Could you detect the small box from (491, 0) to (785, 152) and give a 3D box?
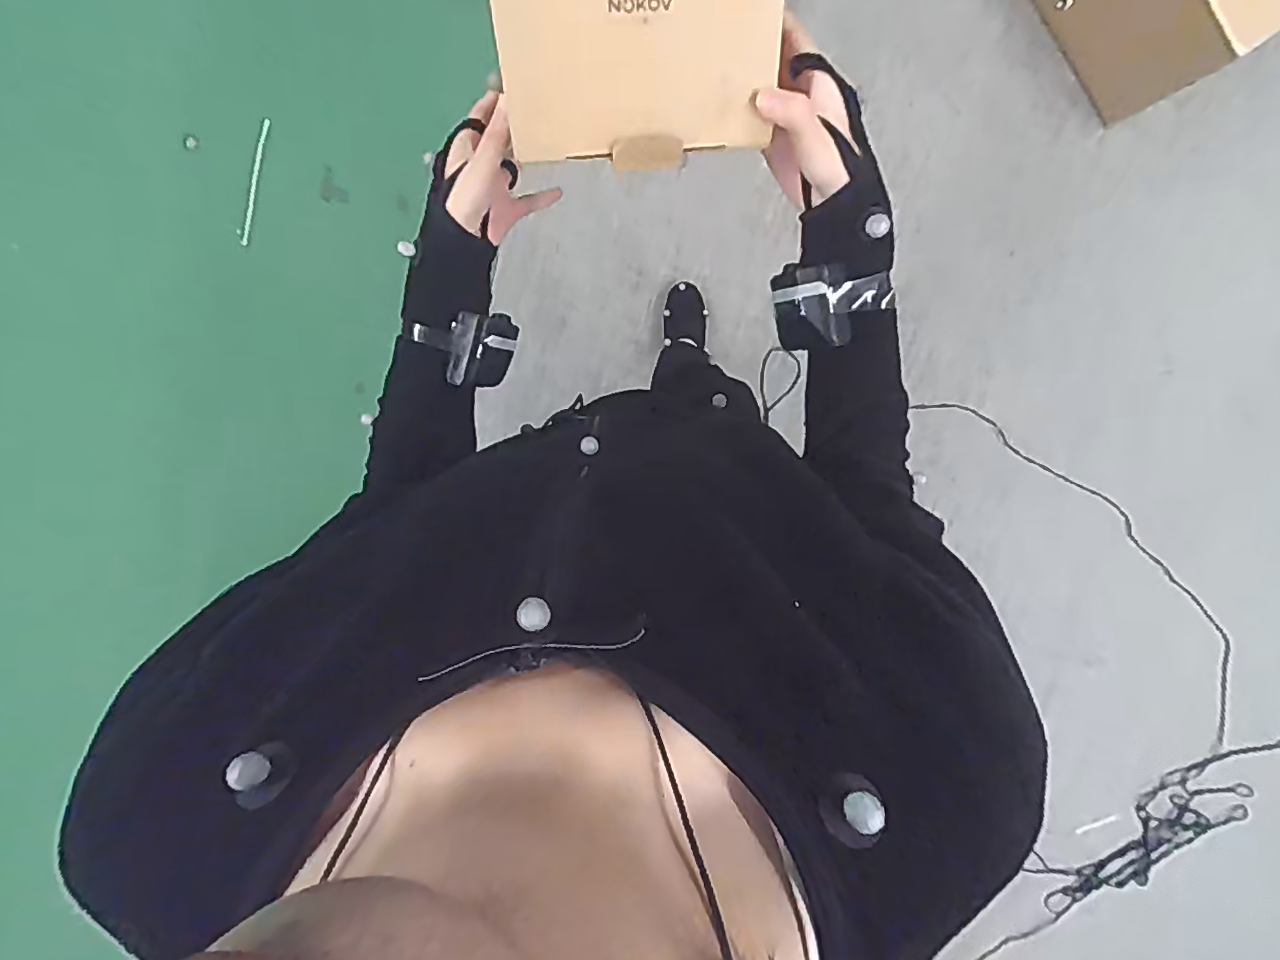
[{"bbox_3d":[-0.009,-0.325,0.348,0.168,0.176,0.179,-7,126,-5],"label":"small box"}]
